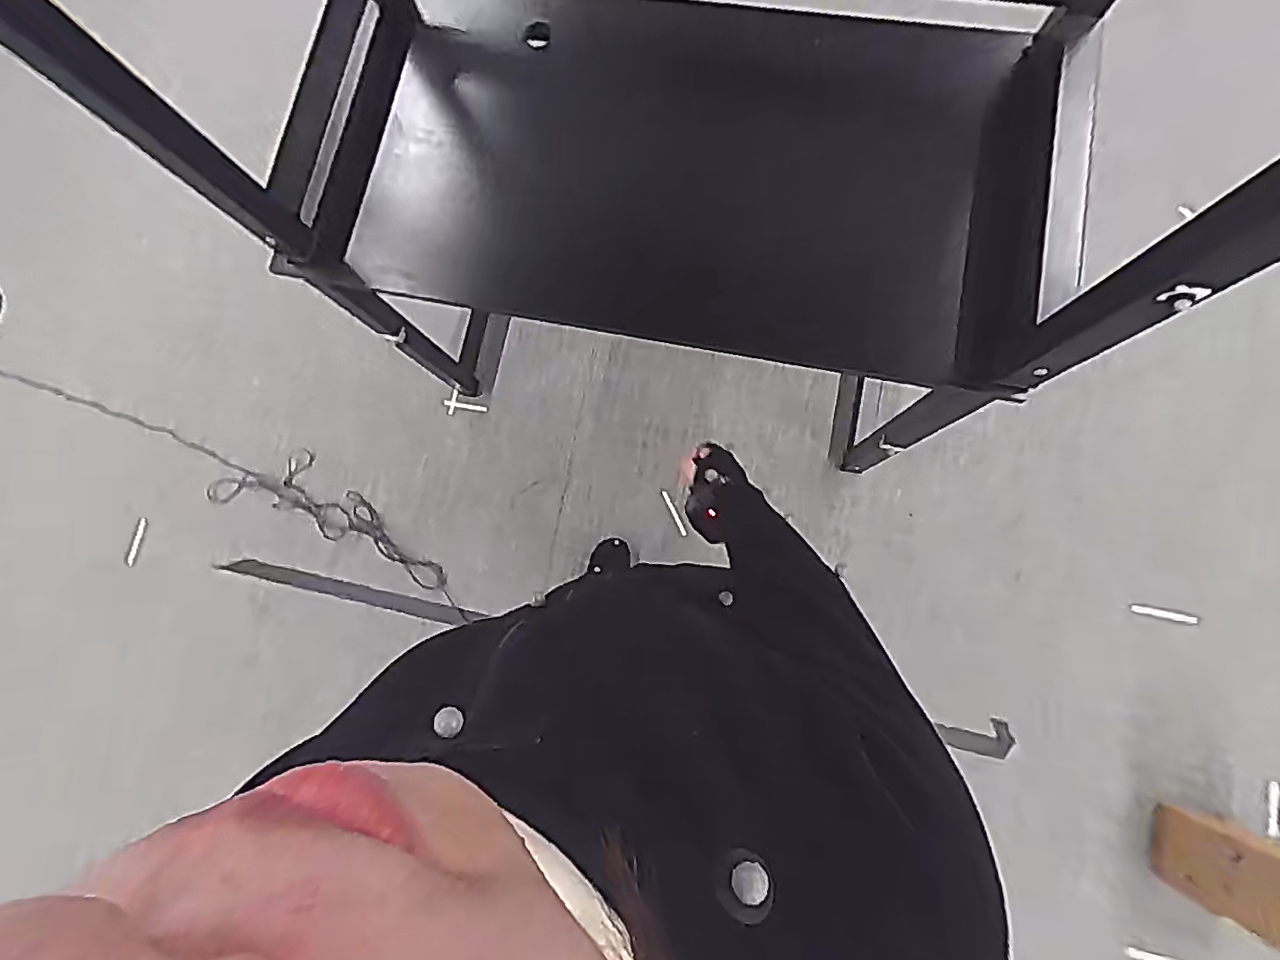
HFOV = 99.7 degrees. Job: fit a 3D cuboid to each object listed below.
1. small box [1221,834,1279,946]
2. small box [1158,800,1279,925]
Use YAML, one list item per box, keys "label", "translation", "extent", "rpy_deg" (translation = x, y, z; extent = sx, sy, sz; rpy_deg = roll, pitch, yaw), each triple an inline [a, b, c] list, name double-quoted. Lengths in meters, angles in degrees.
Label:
- label: "small box"
  translation: [1.303, 0.827, 1.050]
  extent: [0.179, 0.176, 0.168]
  rpy_deg: [12, 84, 5]
- label: "small box"
  translation: [1.318, 0.859, 1.210]
  extent: [0.168, 0.176, 0.179]
  rpy_deg: [9, 83, 6]
